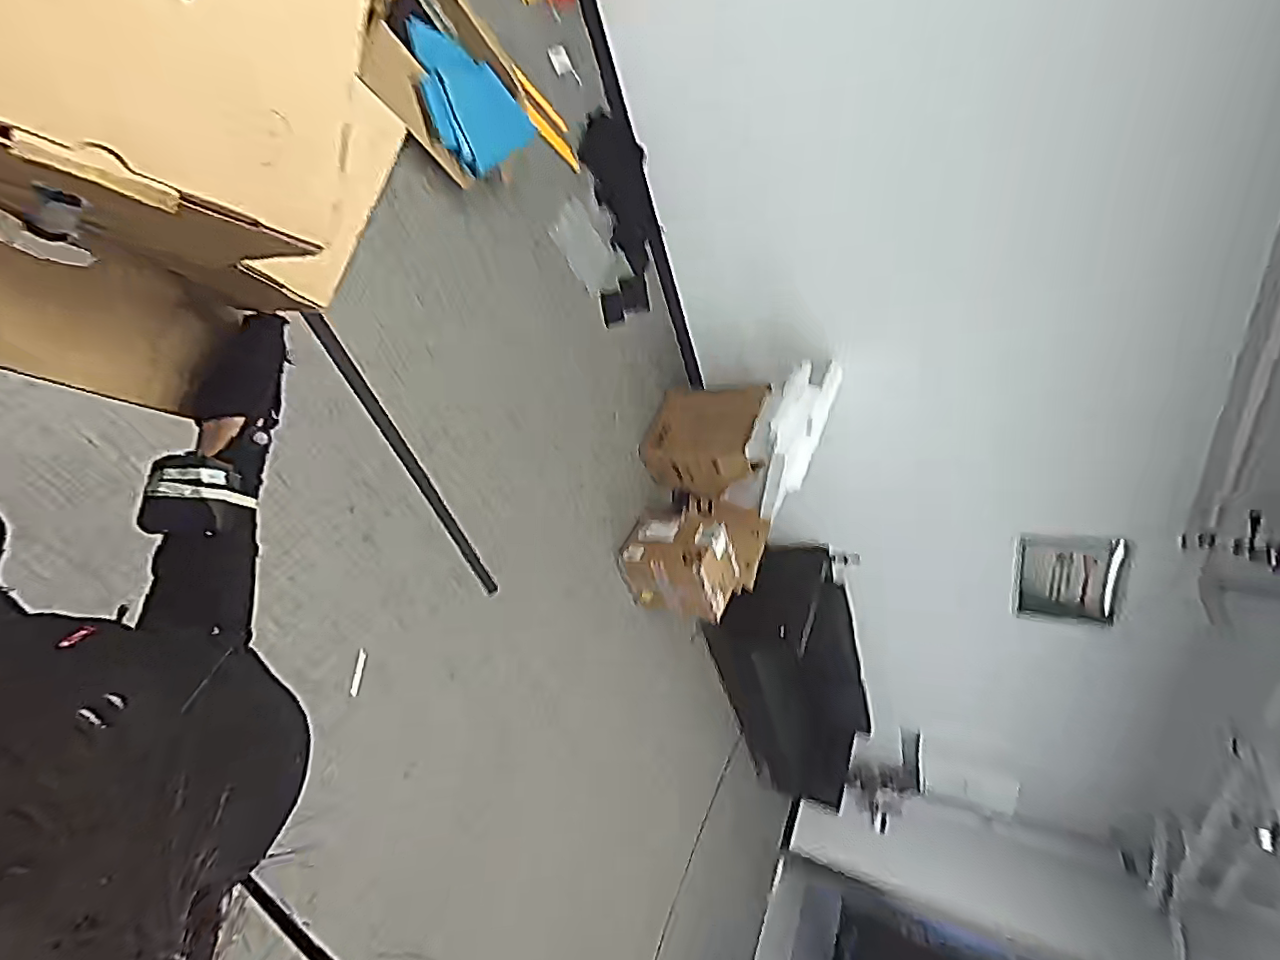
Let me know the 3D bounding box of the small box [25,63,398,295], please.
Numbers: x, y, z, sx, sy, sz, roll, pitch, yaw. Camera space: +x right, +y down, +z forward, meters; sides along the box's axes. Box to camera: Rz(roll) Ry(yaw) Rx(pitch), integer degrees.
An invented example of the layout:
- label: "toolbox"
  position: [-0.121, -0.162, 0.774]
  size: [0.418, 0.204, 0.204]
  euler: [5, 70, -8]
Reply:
- label: "small box"
  position: [-0.329, -0.259, 0.410]
  size: [0.168, 0.176, 0.179]
  euler: [32, 73, -55]

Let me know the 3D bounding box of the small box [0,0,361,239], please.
- label: "small box"
  position: [-0.251, -0.224, 0.240]
  size: [0.168, 0.176, 0.179]
  euler: [6, 97, -56]
